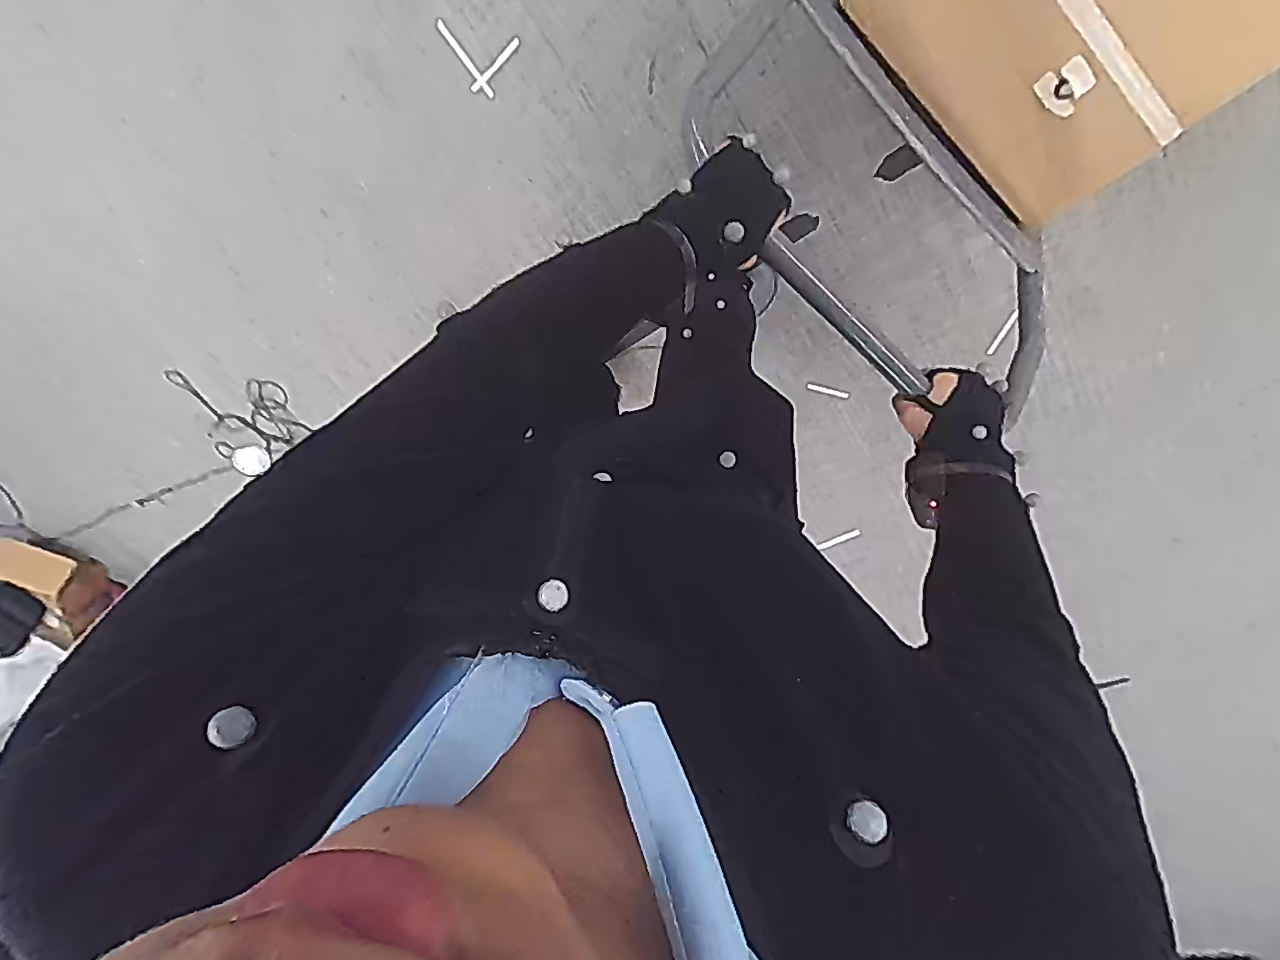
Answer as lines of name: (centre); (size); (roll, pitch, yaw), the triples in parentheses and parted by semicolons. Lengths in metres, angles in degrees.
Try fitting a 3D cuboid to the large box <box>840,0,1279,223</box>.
large box: (0.524, -0.639, 0.688); (0.408, 0.320, 0.320); (36, 142, -16)
